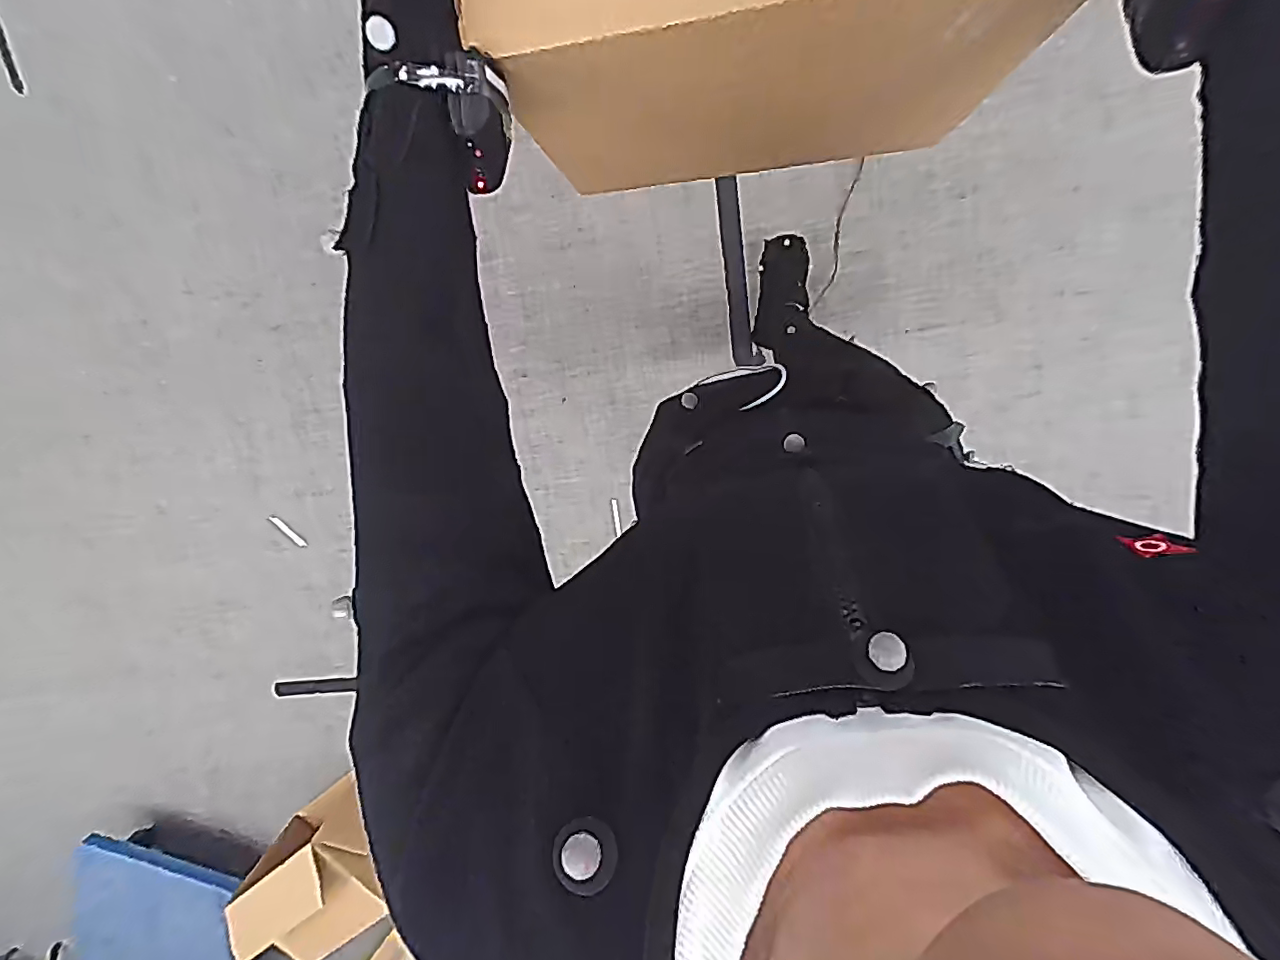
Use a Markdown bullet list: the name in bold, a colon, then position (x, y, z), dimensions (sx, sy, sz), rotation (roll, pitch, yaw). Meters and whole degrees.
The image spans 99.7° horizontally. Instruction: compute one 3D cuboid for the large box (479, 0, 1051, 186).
- **large box**: position (0.092, -0.482, 0.445), dimensions (0.408, 0.320, 0.320), rotation (-4, 103, 8)
